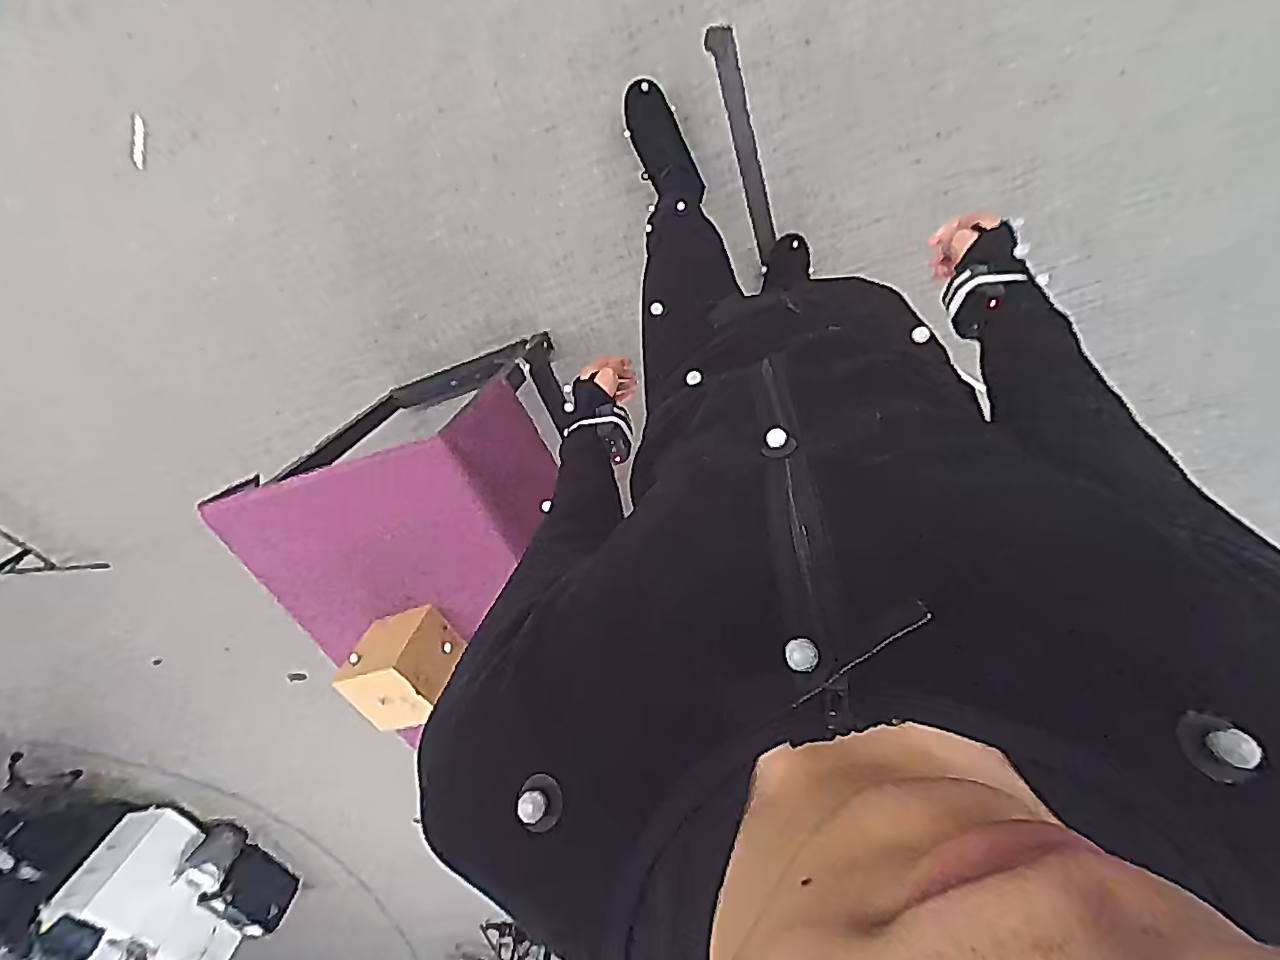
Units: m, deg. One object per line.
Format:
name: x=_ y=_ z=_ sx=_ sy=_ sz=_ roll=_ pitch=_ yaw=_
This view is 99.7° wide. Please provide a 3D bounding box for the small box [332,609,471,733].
small box: x=-0.498 y=0.404 z=1.155 sx=0.179 sy=0.176 sz=0.168 roll=-20 pitch=117 yaw=18
